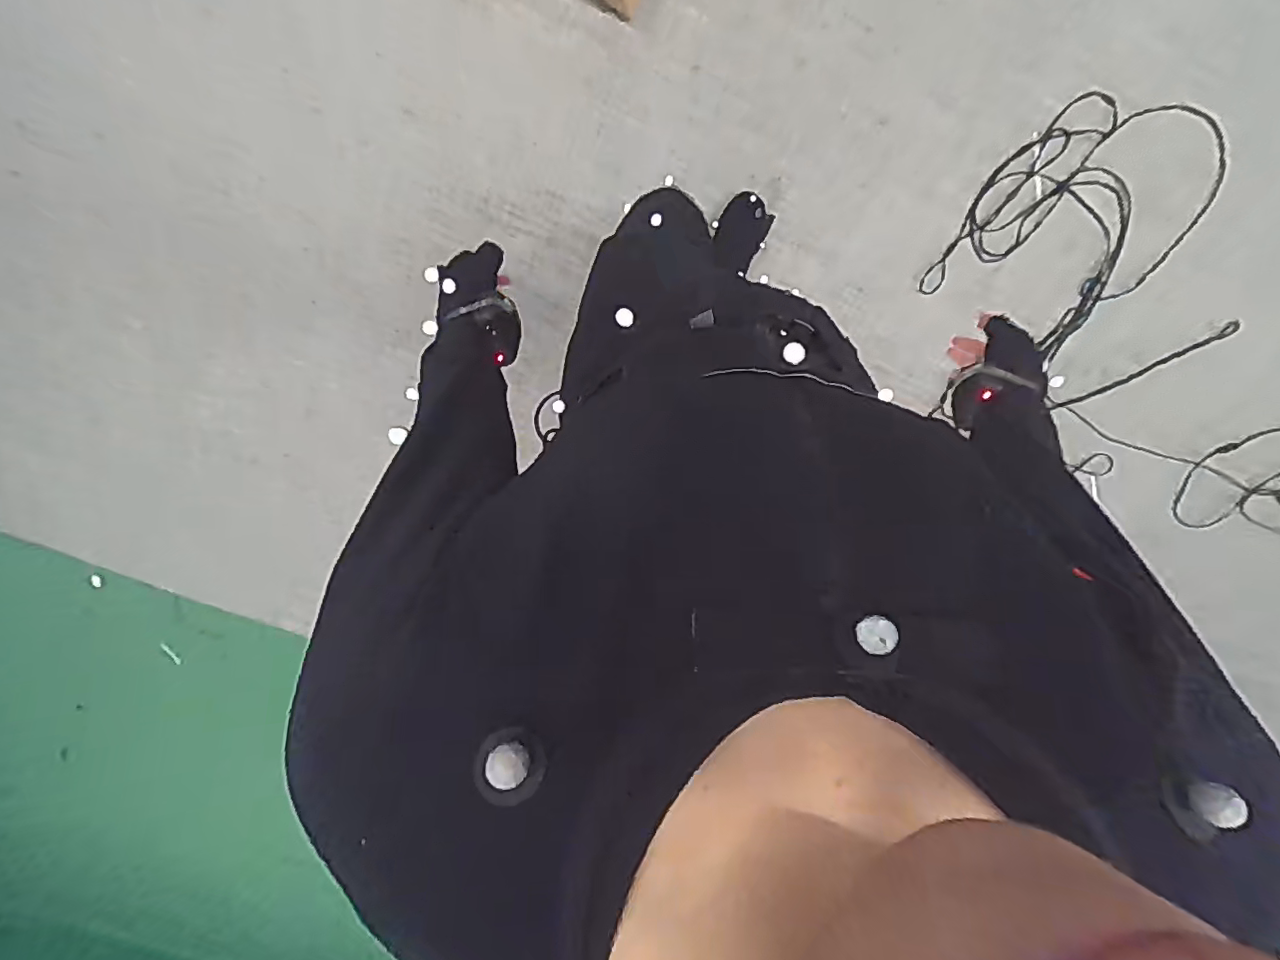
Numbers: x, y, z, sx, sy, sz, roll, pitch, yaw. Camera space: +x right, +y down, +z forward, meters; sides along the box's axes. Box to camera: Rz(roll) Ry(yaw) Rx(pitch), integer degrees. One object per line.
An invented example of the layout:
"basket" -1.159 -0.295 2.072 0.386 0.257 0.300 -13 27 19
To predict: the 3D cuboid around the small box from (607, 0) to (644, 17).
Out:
"small box" -0.044 -0.978 0.958 0.168 0.176 0.179 28 117 -11
